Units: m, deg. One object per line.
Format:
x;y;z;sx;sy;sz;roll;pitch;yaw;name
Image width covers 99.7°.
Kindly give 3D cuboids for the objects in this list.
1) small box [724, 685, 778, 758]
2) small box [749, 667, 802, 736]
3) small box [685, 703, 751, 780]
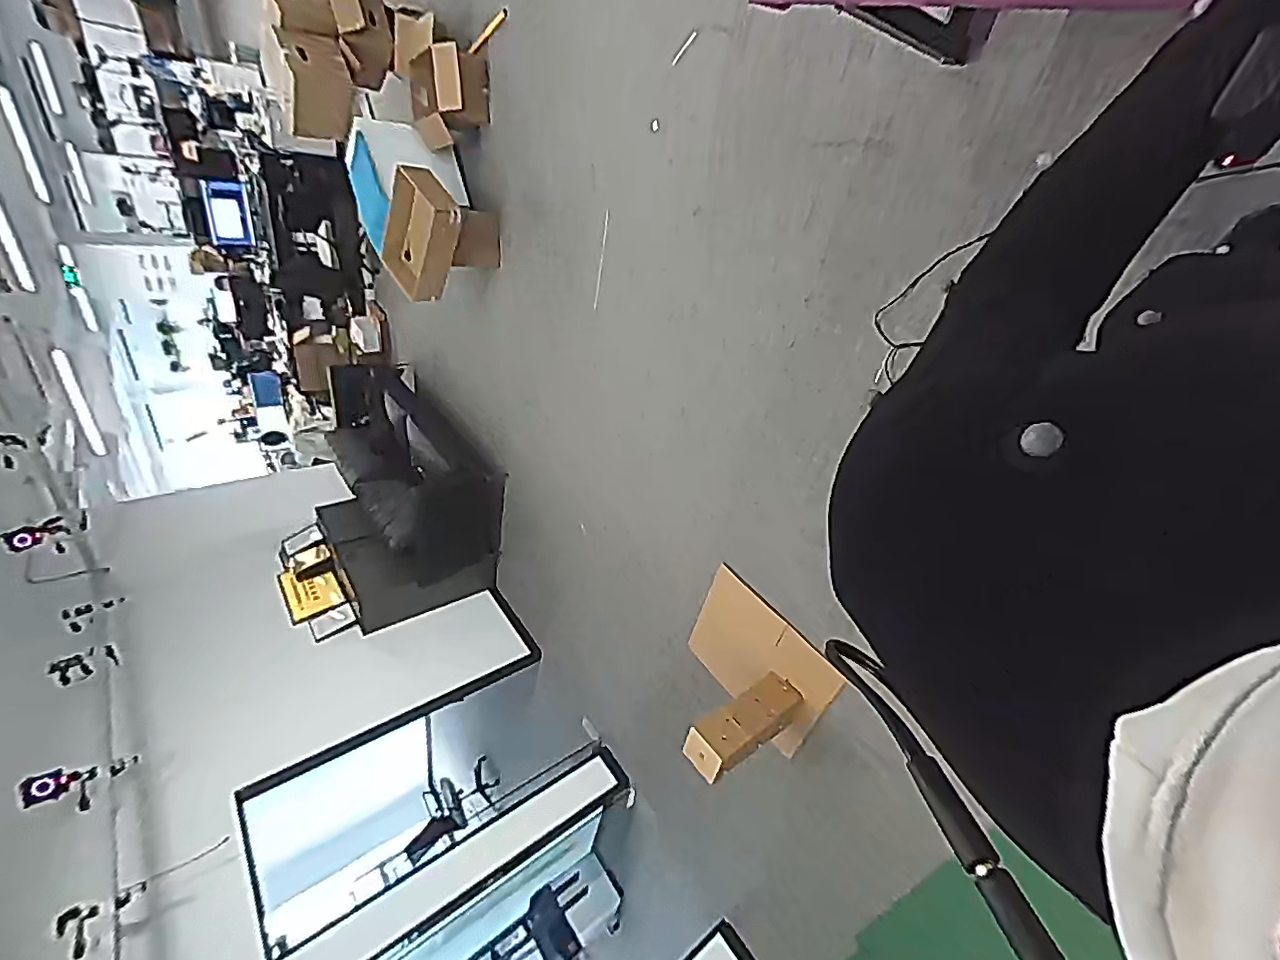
0.432;0.969;2.186;0.168;0.176;0.179;39;132;37;small box
0.558;0.931;2.283;0.168;0.176;0.179;36;129;40;small box
0.304;1.005;2.094;0.168;0.176;0.179;39;132;37;small box
